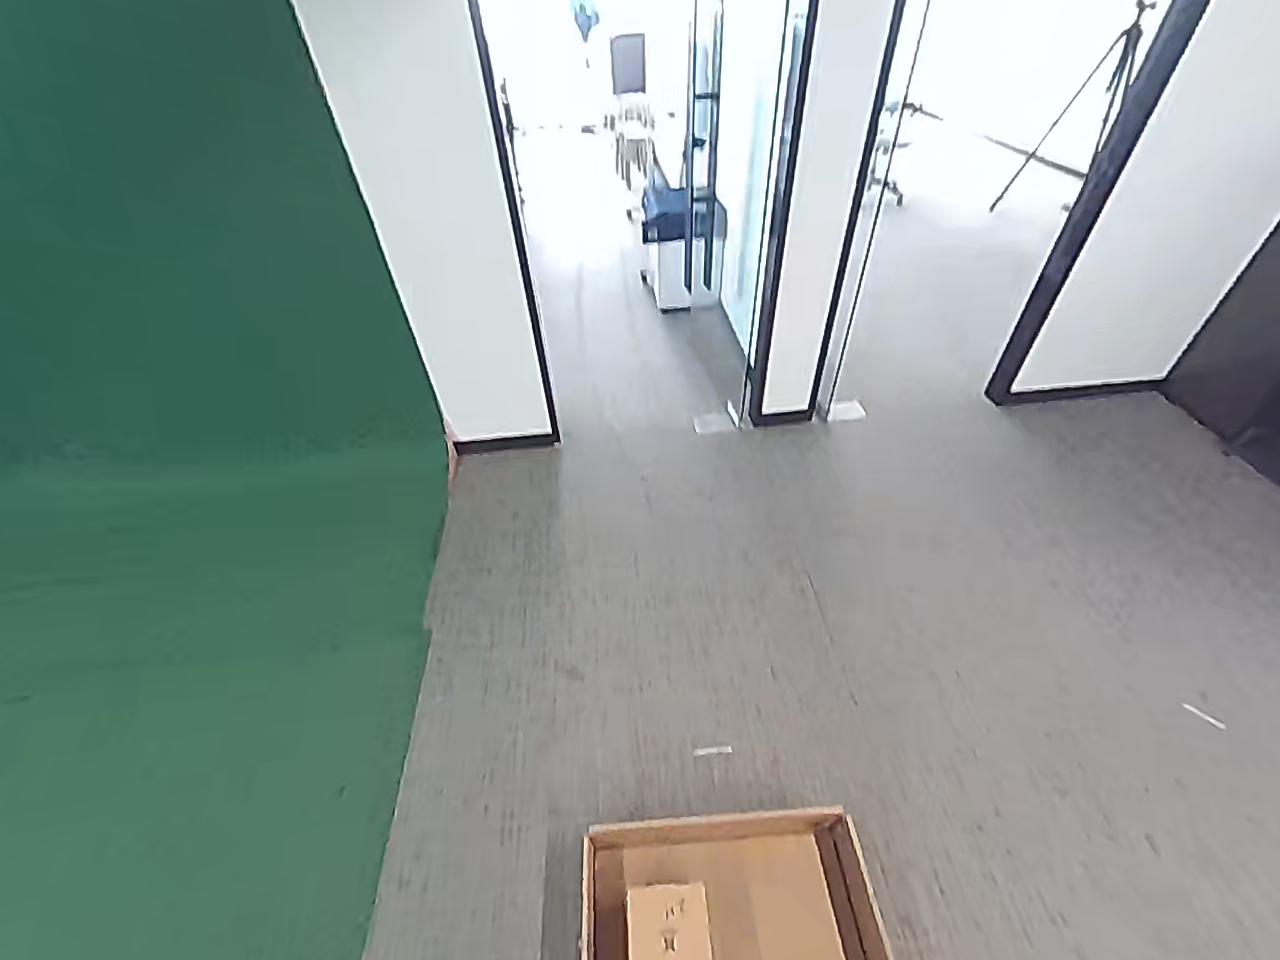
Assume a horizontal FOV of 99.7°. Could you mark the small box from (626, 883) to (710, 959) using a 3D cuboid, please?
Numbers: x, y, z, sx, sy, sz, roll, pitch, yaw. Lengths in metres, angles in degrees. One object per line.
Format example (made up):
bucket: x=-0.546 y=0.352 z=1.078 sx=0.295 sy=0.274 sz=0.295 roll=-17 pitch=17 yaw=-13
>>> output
small box: x=0.057 y=0.976 z=1.139 sx=0.168 sy=0.176 sz=0.179 roll=-3 pitch=44 yaw=-2
